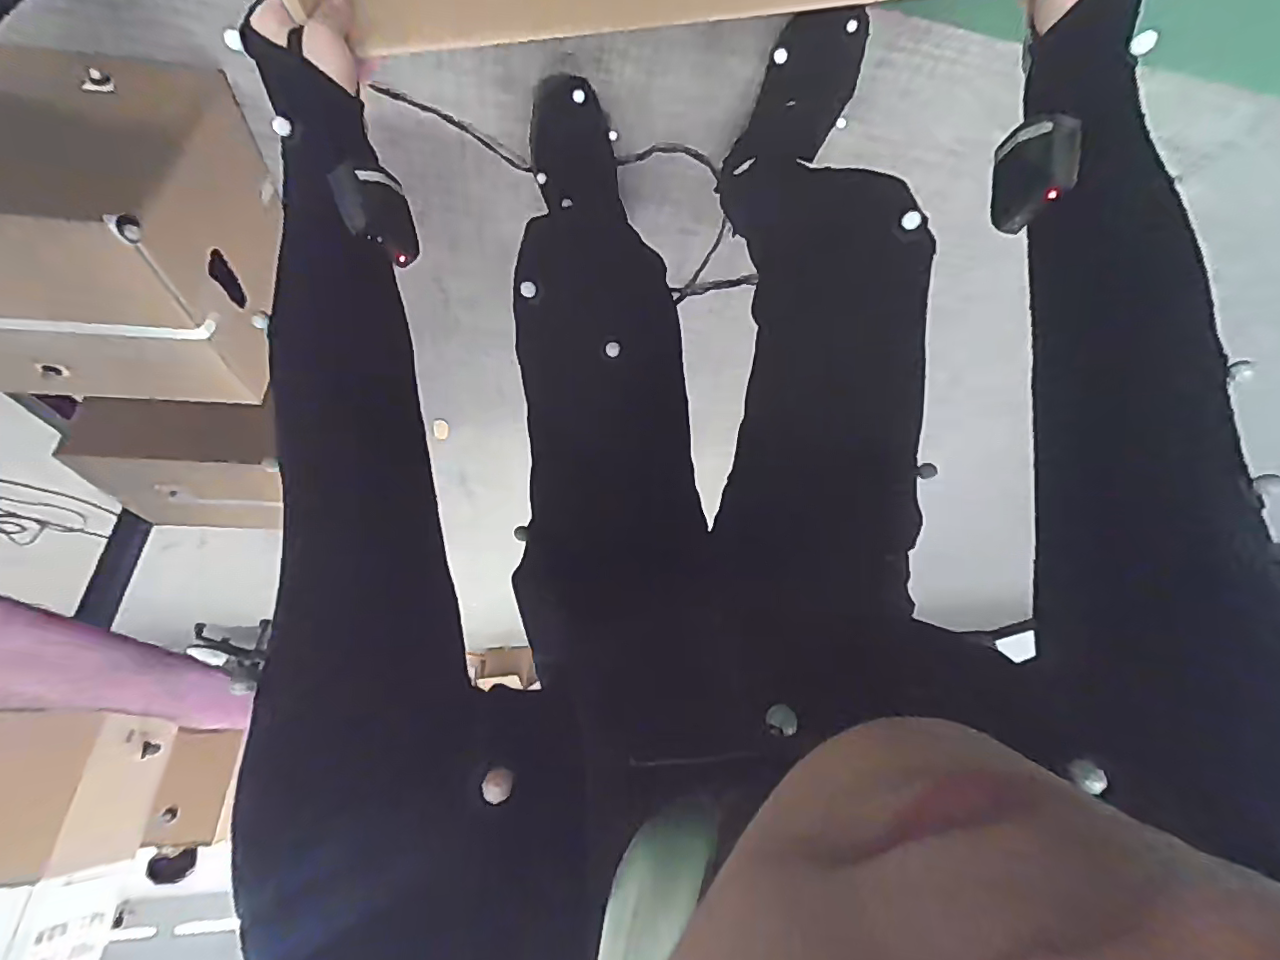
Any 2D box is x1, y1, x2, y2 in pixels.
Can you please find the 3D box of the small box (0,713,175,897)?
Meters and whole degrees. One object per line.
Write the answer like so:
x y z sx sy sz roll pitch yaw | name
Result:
-0.709 0.373 0.633 0.179 0.176 0.168 4 151 -11 | small box

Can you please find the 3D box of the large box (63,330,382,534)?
-0.828 -0.089 1.158 0.408 0.320 0.320 4 150 -9 | large box

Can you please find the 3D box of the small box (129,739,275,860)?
-0.774 0.548 0.944 0.179 0.176 0.168 4 150 -8 | small box
